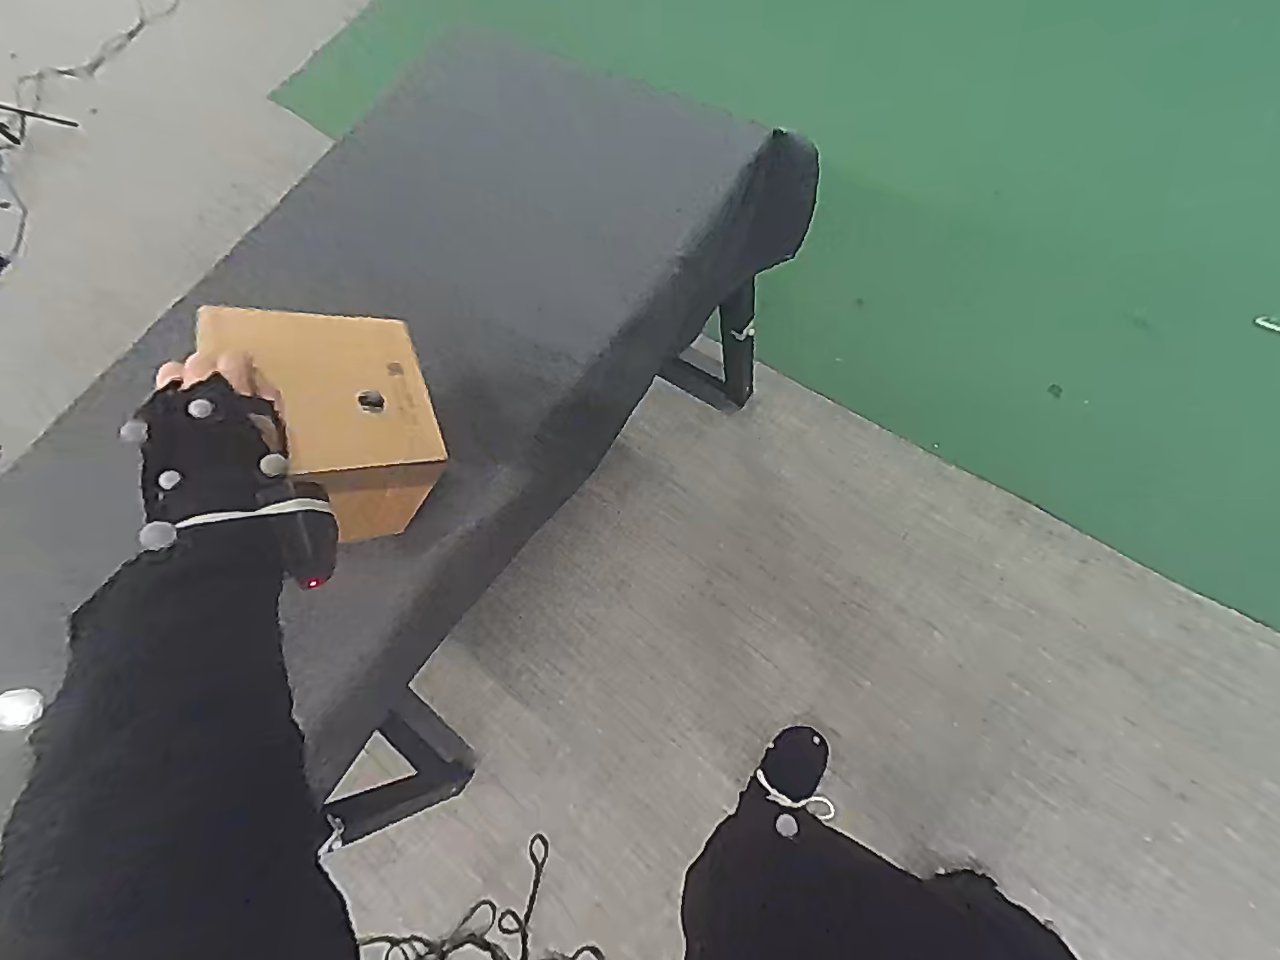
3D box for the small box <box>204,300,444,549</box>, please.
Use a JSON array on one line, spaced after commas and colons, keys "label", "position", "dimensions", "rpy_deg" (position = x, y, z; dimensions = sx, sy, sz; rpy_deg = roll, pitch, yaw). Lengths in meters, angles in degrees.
[{"label": "small box", "position": [-0.312, -0.043, 0.530], "dimensions": [0.179, 0.176, 0.168], "rpy_deg": [-35, 68, 43]}]
